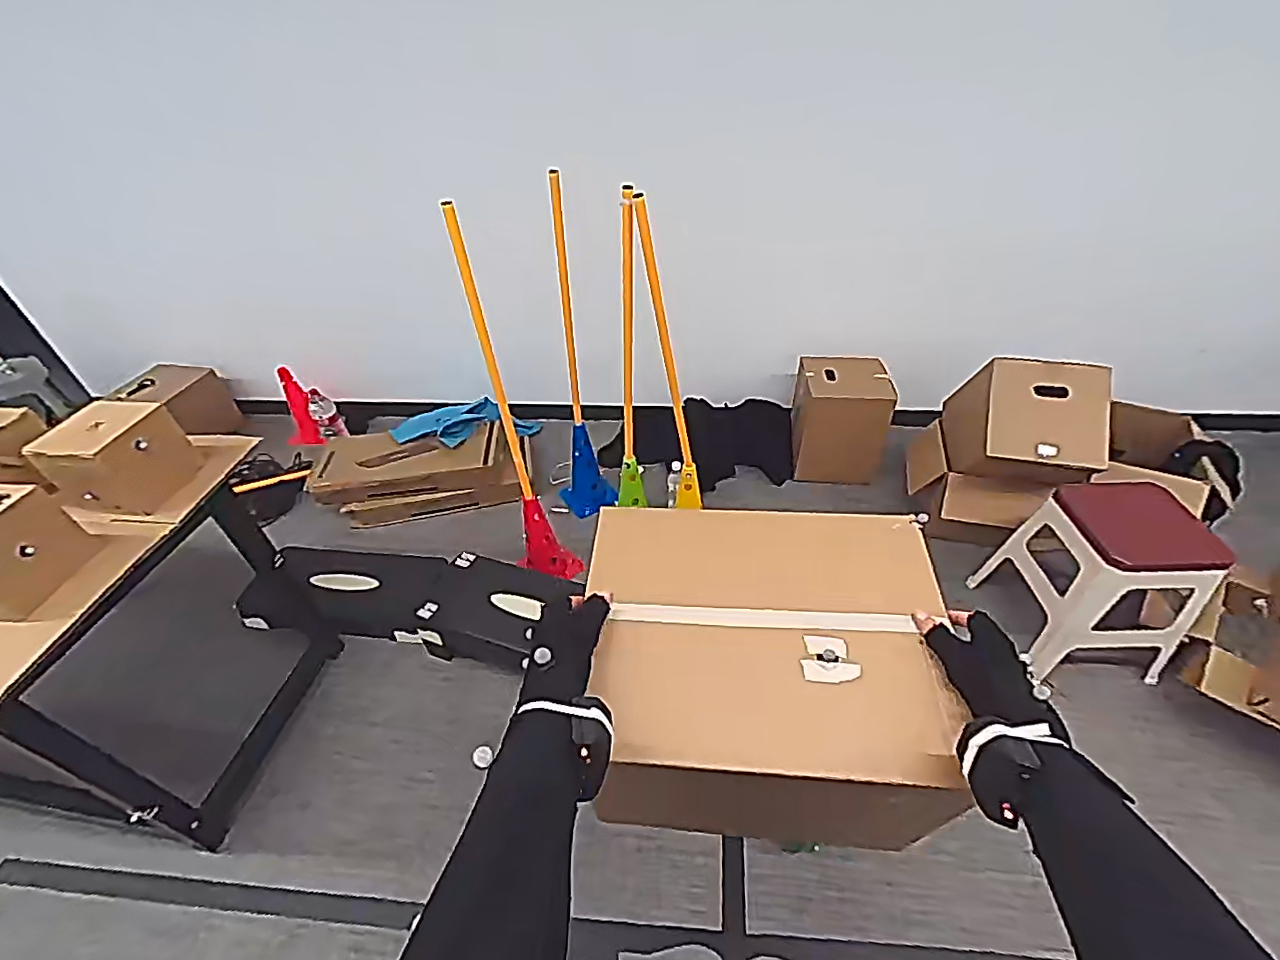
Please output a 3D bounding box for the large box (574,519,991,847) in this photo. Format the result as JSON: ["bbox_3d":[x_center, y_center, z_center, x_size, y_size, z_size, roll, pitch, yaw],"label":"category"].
[{"bbox_3d":[0.148,0.269,0.724,0.408,0.320,0.320,1,48,6],"label":"large box"}]
